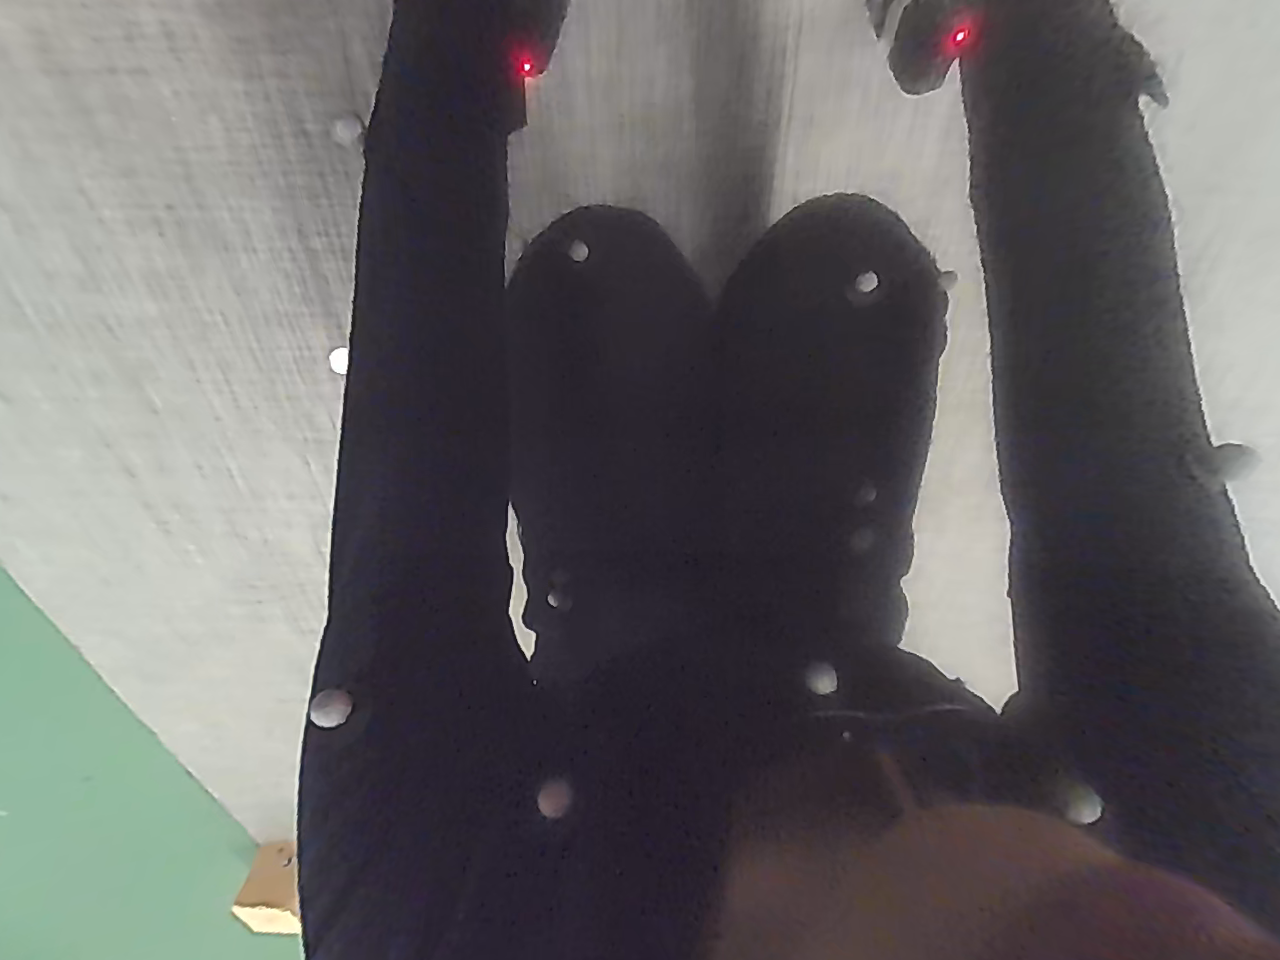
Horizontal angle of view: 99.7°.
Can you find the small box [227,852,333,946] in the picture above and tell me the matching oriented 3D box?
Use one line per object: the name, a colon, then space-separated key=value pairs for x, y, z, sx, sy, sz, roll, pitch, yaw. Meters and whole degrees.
small box: x=-1.025 y=1.208 z=1.561 sx=0.168 sy=0.176 sz=0.179 roll=1 pitch=122 yaw=1
